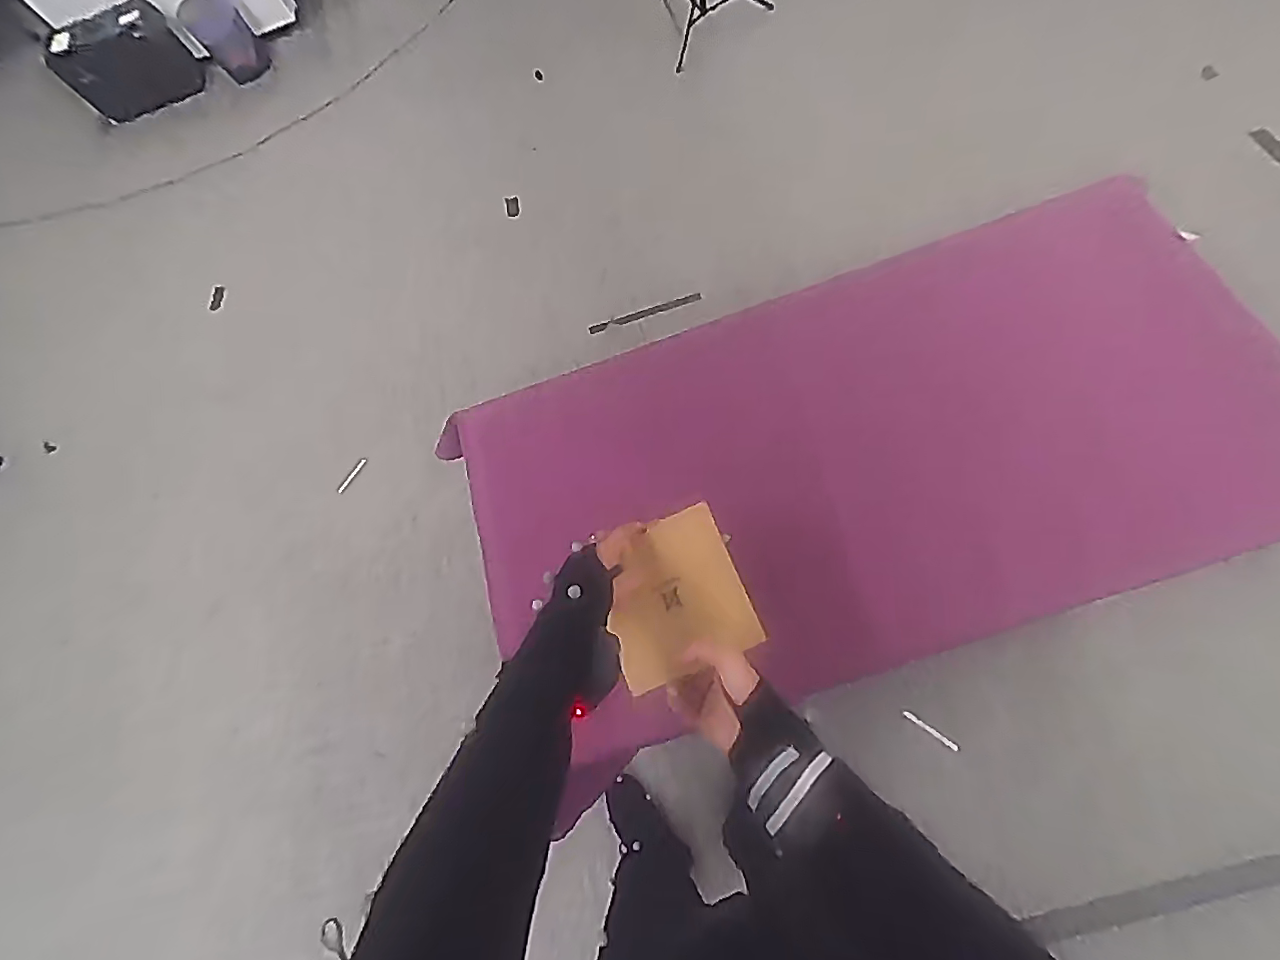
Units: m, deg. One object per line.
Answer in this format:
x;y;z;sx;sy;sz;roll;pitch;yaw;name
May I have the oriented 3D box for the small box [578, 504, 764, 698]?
0.040;0.152;0.689;0.168;0.176;0.179;-23;75;3;small box
